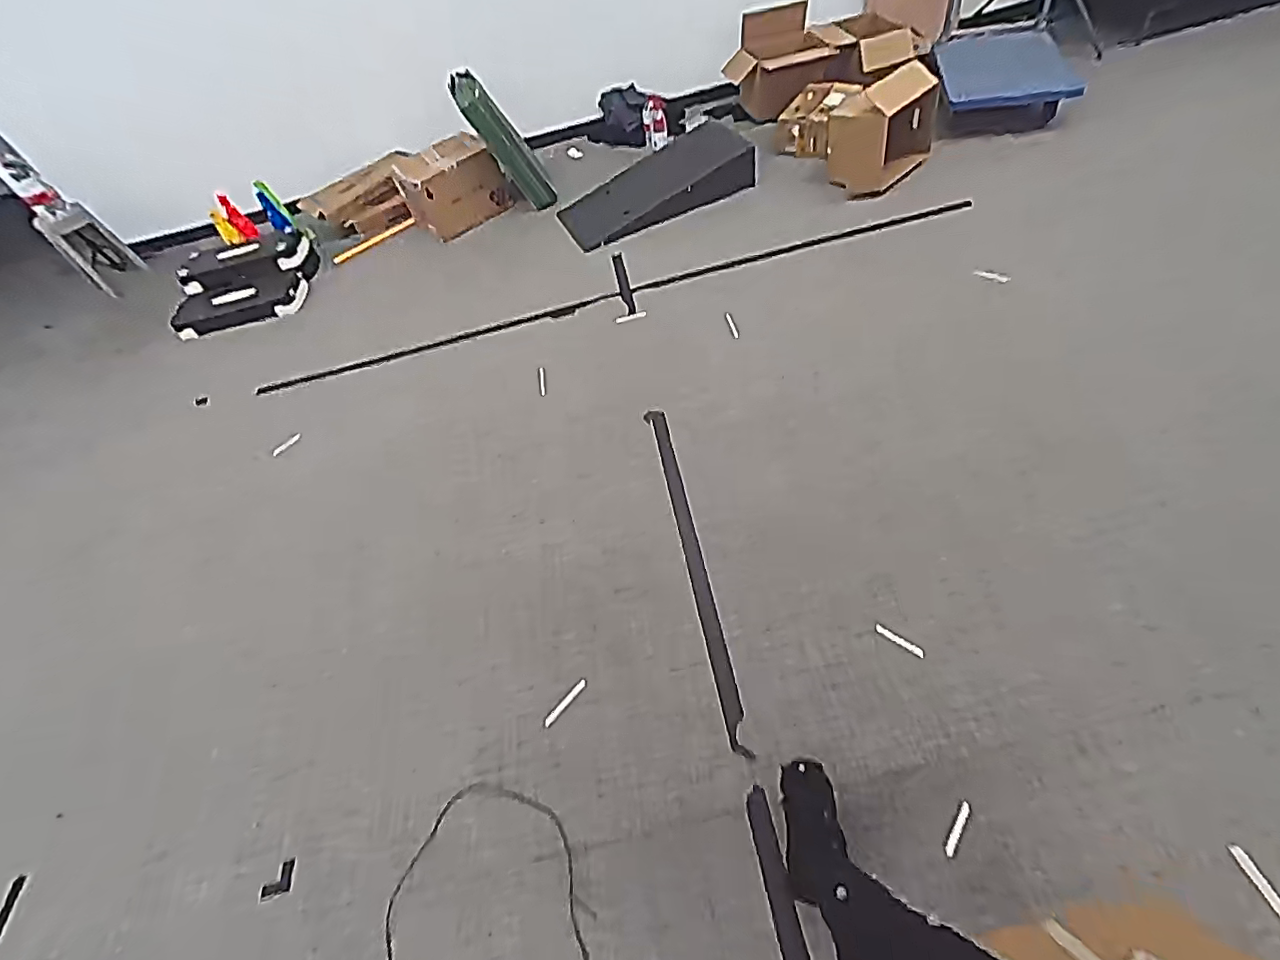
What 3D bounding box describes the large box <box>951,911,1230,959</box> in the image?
[{"bbox_3d":[0.593,0.733,0.534,0.320,0.408,0.320,-14,73,1],"label":"large box"}]
